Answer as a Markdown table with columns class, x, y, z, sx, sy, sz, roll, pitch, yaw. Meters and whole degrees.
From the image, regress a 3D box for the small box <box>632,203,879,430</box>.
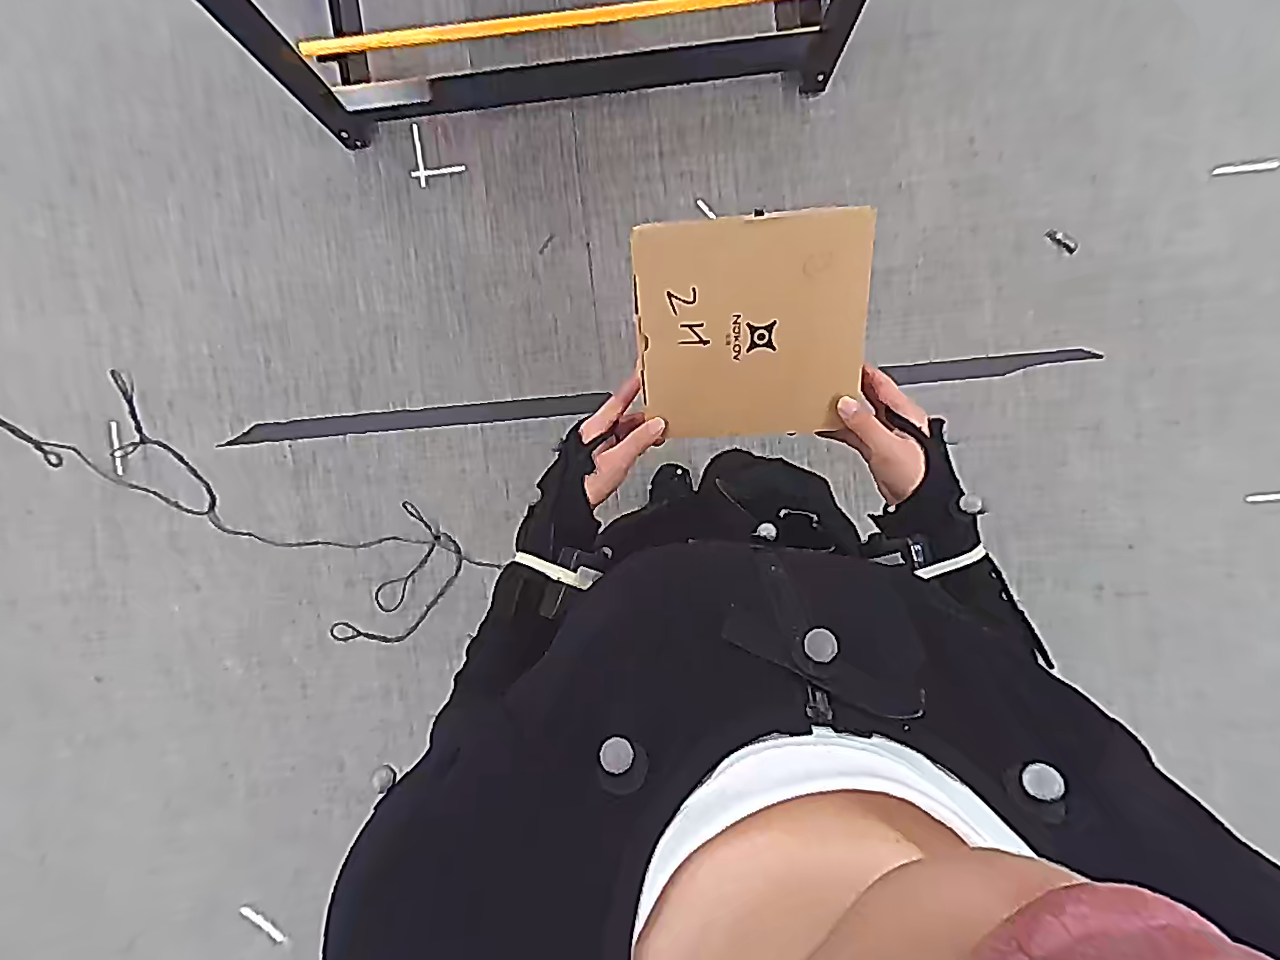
| class | x | y | z | sx | sy | sz | roll | pitch | yaw |
| --- | --- | --- | --- | --- | --- | --- | --- | --- | --- |
| small box | 0.091 | -0.153 | 0.486 | 0.179 | 0.176 | 0.168 | -2 | 115 | 6 |
